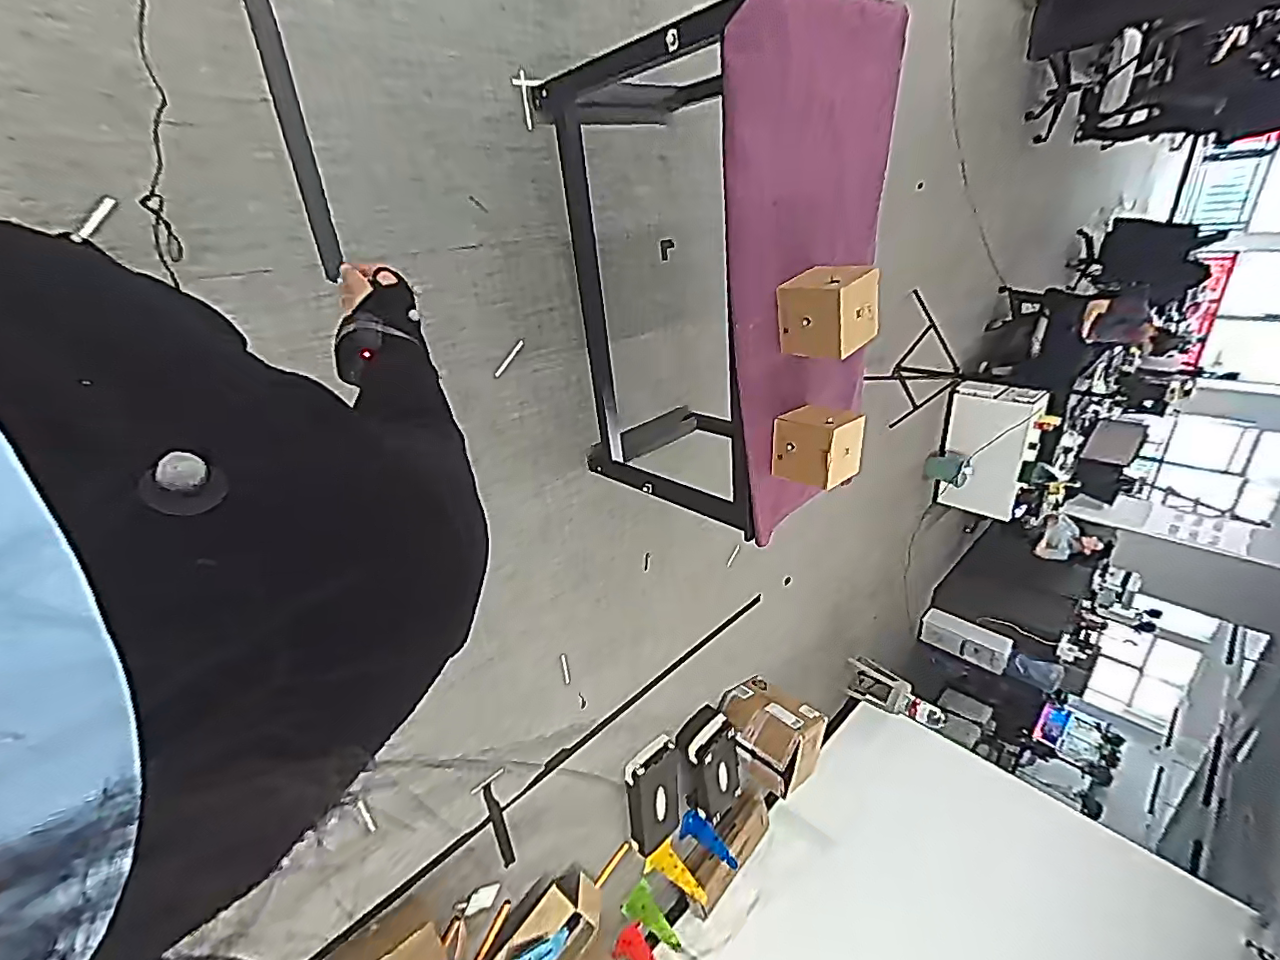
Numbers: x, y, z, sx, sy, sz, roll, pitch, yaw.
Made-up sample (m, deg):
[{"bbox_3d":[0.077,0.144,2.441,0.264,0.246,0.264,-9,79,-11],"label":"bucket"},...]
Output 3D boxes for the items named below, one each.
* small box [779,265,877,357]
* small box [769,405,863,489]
[{"bbox_3d":[0.449,-0.410,1.307,0.179,0.176,0.168,-35,128,-31],"label":"small box"},{"bbox_3d":[0.469,-0.097,1.449,0.179,0.176,0.168,-22,120,-39],"label":"small box"}]
